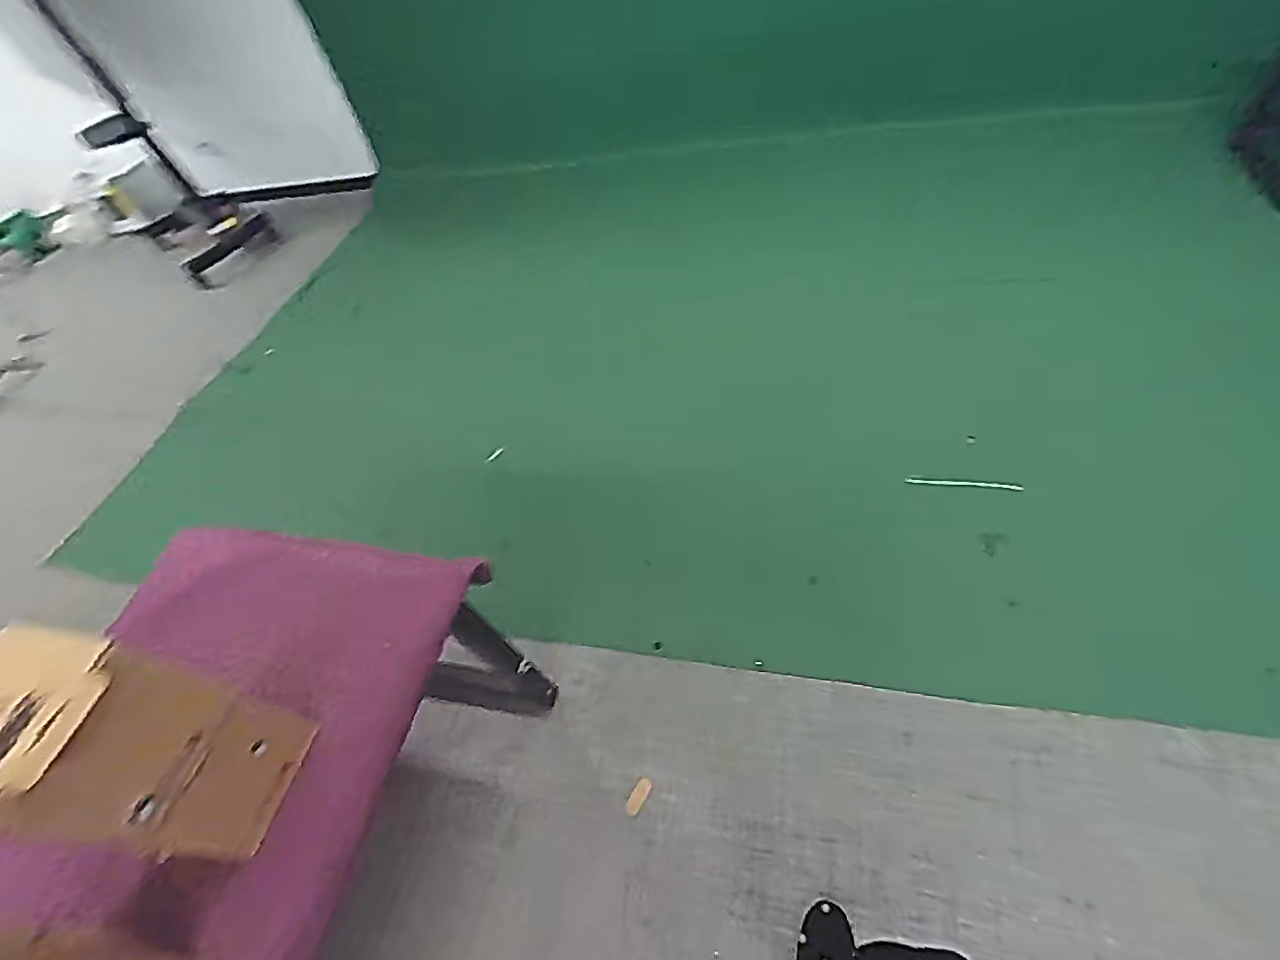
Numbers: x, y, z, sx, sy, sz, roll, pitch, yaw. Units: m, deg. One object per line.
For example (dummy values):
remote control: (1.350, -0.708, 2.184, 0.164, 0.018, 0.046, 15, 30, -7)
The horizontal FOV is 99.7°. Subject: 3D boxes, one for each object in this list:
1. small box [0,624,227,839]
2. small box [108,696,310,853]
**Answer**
small box: (-0.616, 0.275, 0.588, 0.179, 0.176, 0.168, 2, 53, 16)
small box: (-0.591, 0.376, 0.715, 0.179, 0.176, 0.168, 4, 54, 17)
